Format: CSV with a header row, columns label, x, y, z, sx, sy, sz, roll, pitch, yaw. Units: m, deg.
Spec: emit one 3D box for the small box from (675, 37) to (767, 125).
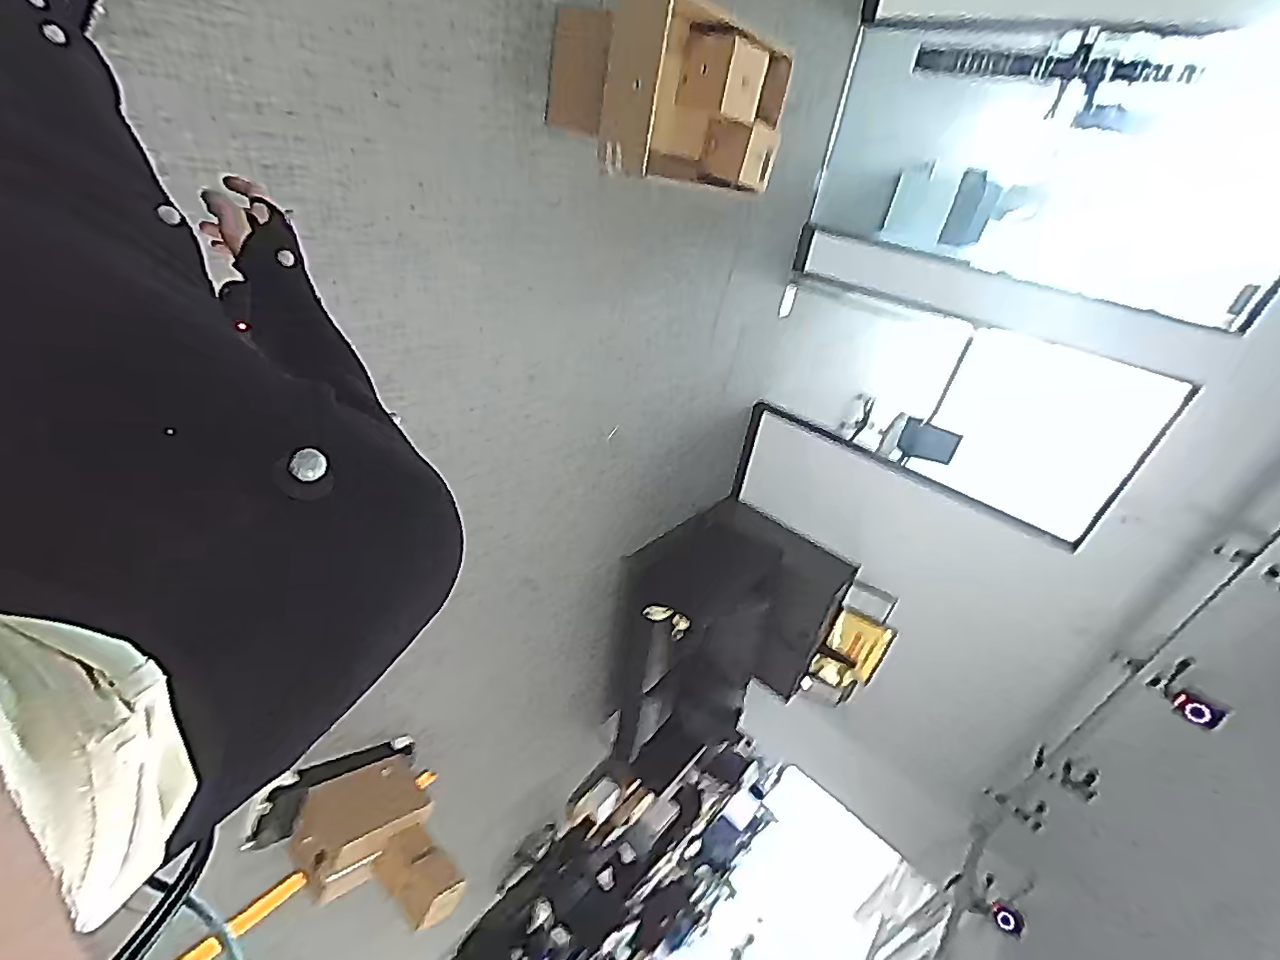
label,x,y,z,sx,sy,sz,roll,pitch,yaw
small box,0.223,-1.123,1.522,0.179,0.176,0.168,-22,136,-45
